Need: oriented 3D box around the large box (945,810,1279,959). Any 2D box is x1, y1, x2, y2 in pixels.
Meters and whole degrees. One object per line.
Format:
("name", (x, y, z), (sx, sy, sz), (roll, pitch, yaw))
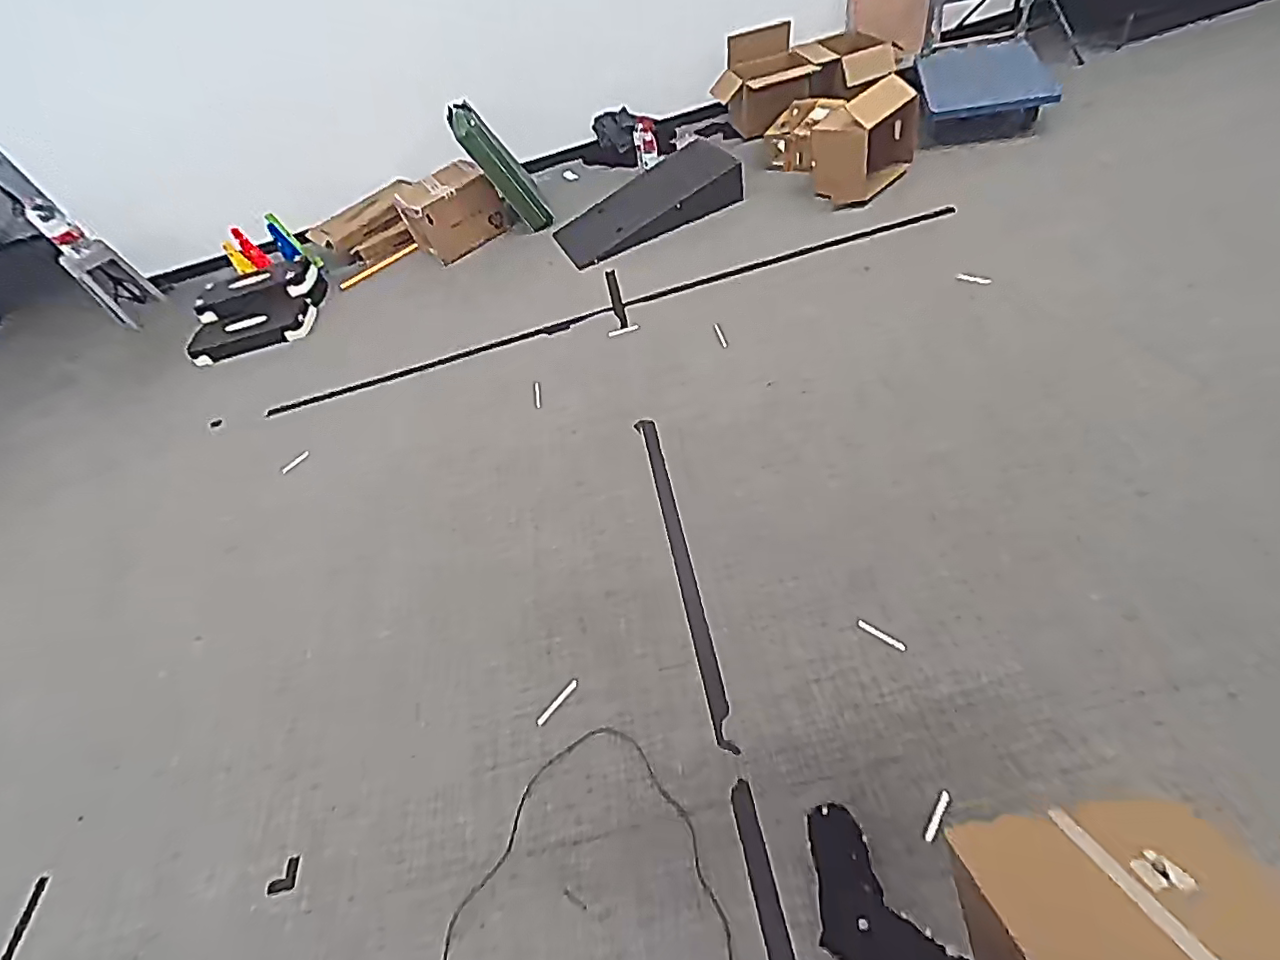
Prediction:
("large box", (0.620, 0.656, 0.598), (0.320, 0.408, 0.320), (-12, 88, 6))
